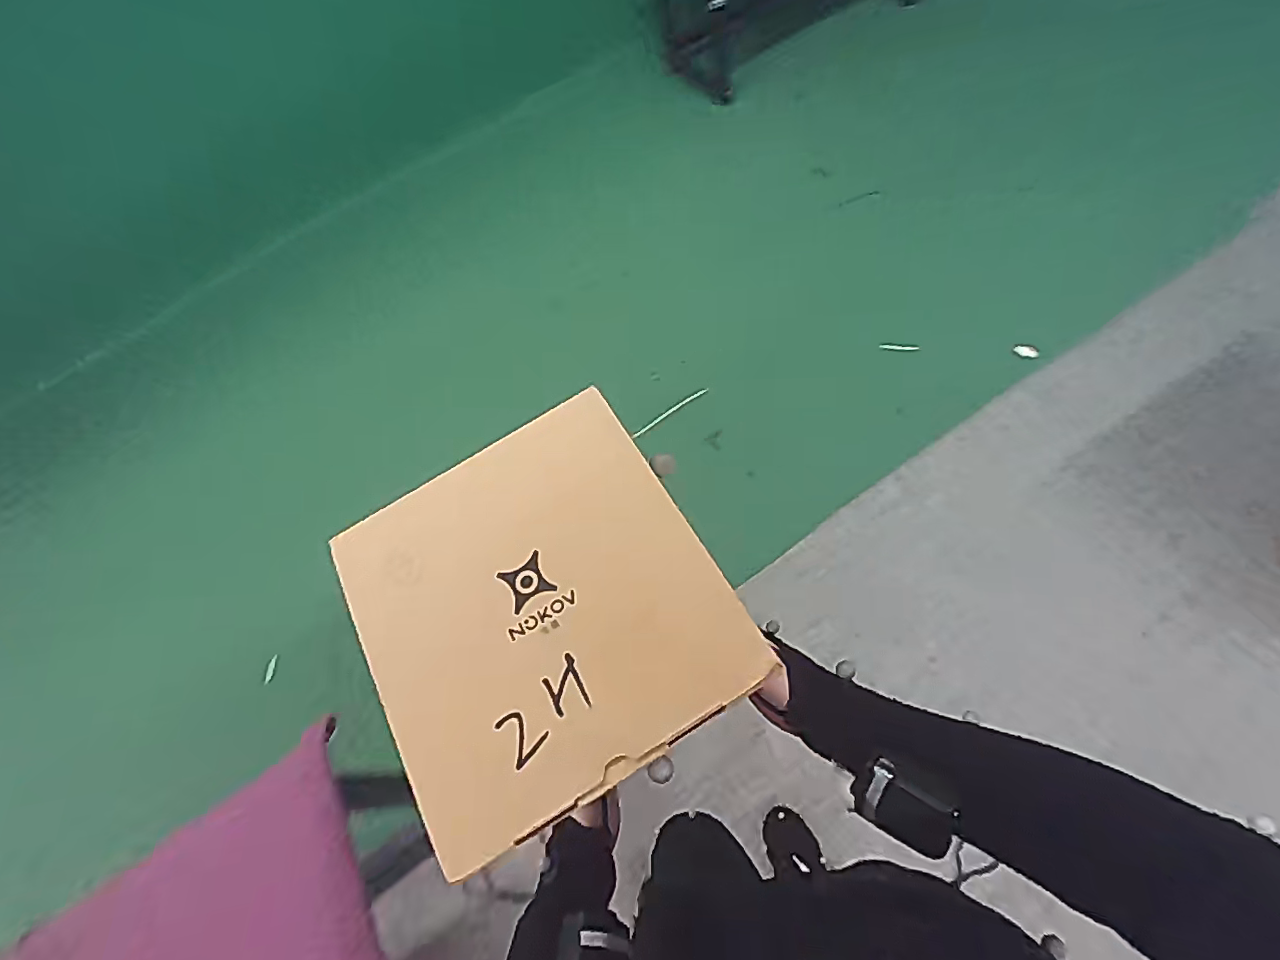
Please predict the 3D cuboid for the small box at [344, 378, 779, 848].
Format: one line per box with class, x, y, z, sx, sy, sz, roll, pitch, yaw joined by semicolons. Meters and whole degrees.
small box;-0.038;0.078;0.335;0.168;0.176;0.179;-30;67;-3
